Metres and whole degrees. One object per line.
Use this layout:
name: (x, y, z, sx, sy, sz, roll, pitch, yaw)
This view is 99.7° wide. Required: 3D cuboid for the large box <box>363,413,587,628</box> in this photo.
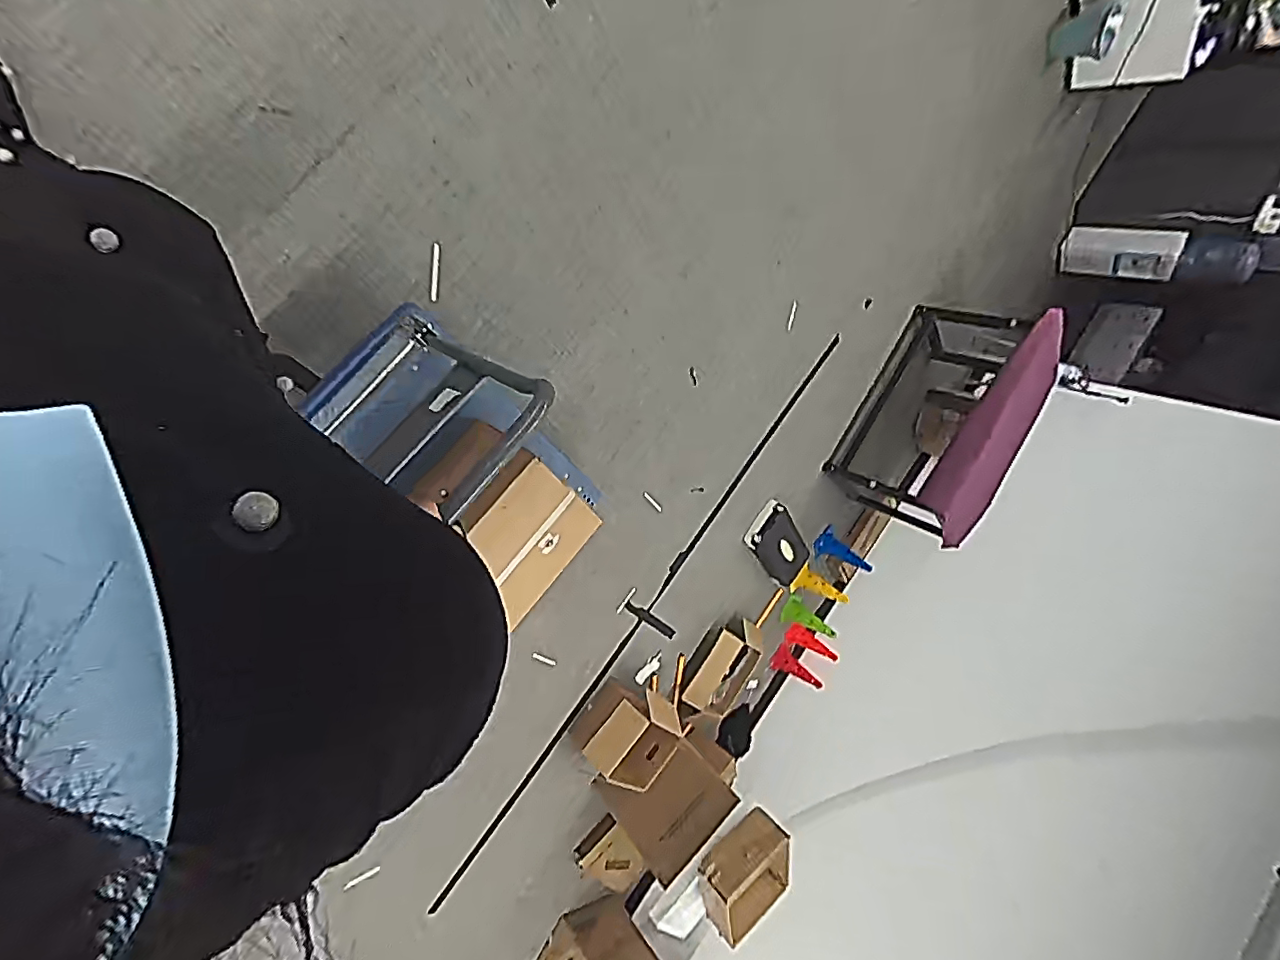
large box: (-0.425, 0.099, 1.411, 0.408, 0.320, 0.320, -51, 138, -12)
